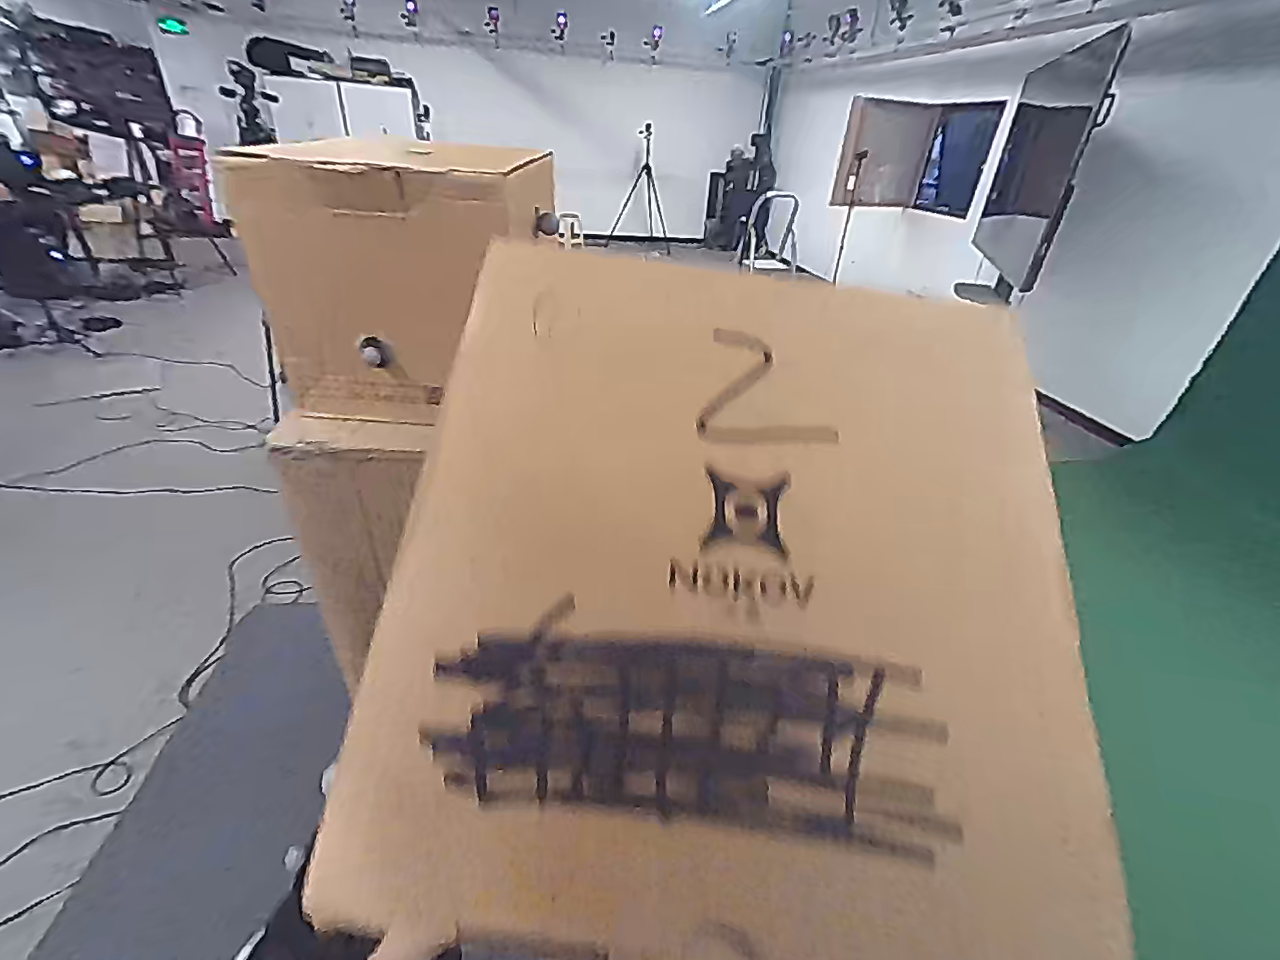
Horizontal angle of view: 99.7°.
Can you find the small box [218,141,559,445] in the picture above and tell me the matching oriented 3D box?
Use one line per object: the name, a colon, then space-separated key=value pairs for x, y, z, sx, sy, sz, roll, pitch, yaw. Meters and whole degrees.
small box: x=-0.156 y=-0.146 z=0.411 sx=0.168 sy=0.176 sz=0.179 roll=4 pitch=36 yaw=-1
